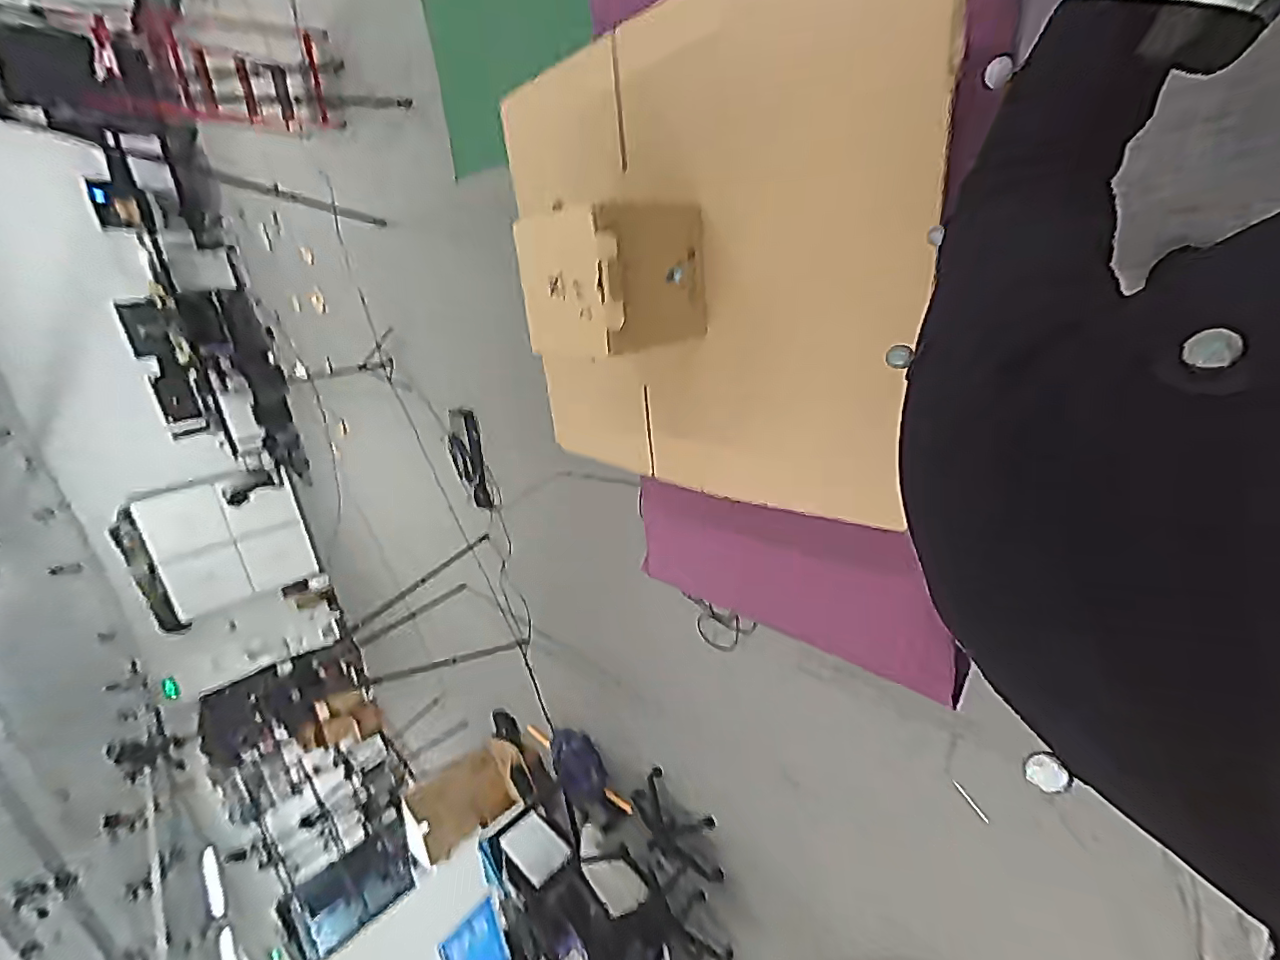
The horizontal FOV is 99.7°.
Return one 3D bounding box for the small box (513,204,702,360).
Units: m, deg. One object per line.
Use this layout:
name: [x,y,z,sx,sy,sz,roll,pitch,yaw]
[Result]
small box: [-0.039,-0.256,0.707,0.179,0.176,0.168,16,120,44]
